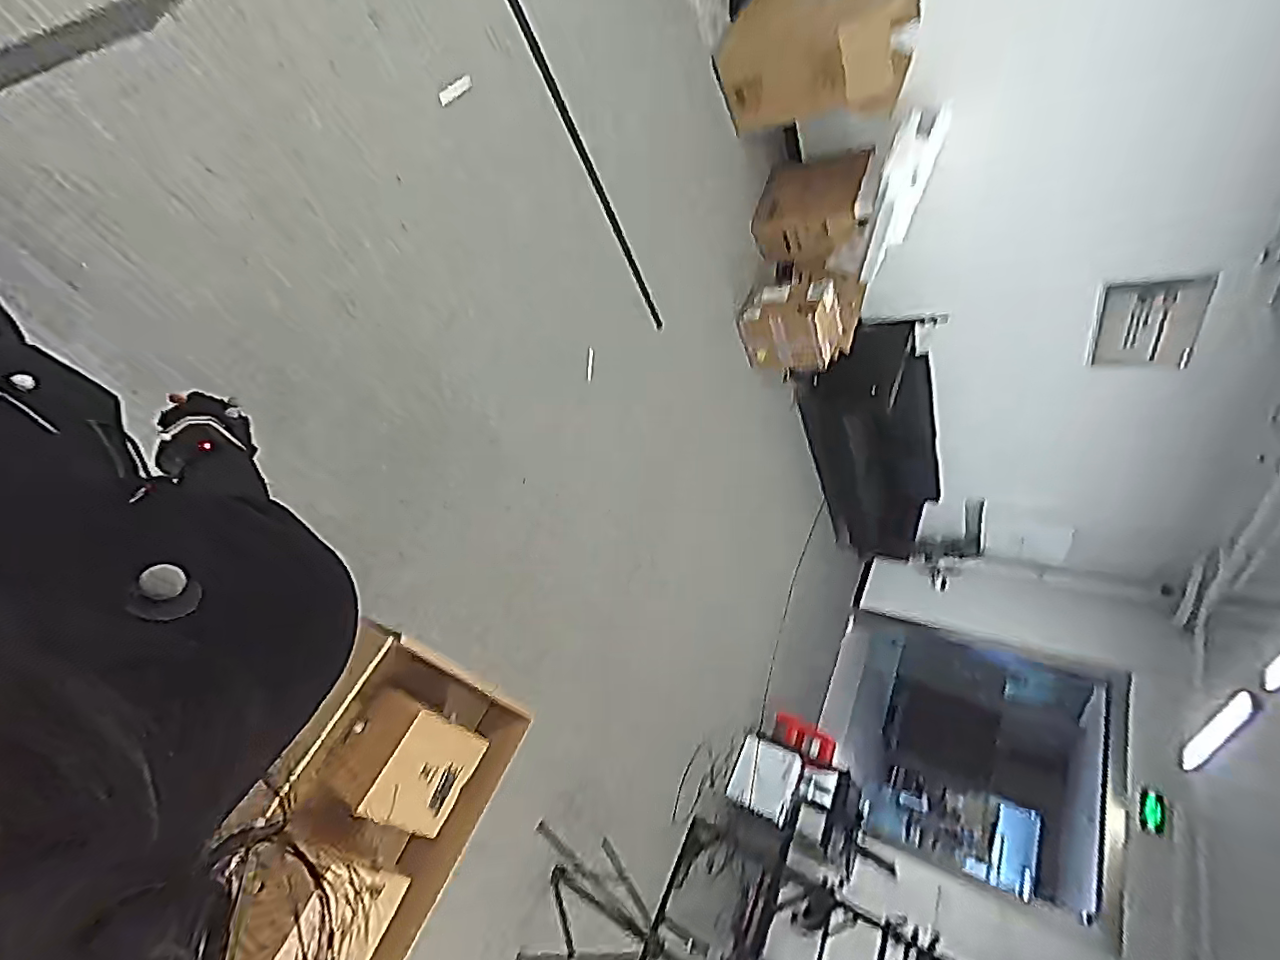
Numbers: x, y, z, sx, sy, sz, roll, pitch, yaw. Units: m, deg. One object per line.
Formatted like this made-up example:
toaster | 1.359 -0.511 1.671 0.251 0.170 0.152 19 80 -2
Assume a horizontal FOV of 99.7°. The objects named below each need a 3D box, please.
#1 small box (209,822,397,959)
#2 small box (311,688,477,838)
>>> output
small box | -0.539 0.691 0.864 0.168 0.176 0.179 55 52 -39
small box | -0.438 0.498 0.969 0.179 0.176 0.168 53 55 -38
